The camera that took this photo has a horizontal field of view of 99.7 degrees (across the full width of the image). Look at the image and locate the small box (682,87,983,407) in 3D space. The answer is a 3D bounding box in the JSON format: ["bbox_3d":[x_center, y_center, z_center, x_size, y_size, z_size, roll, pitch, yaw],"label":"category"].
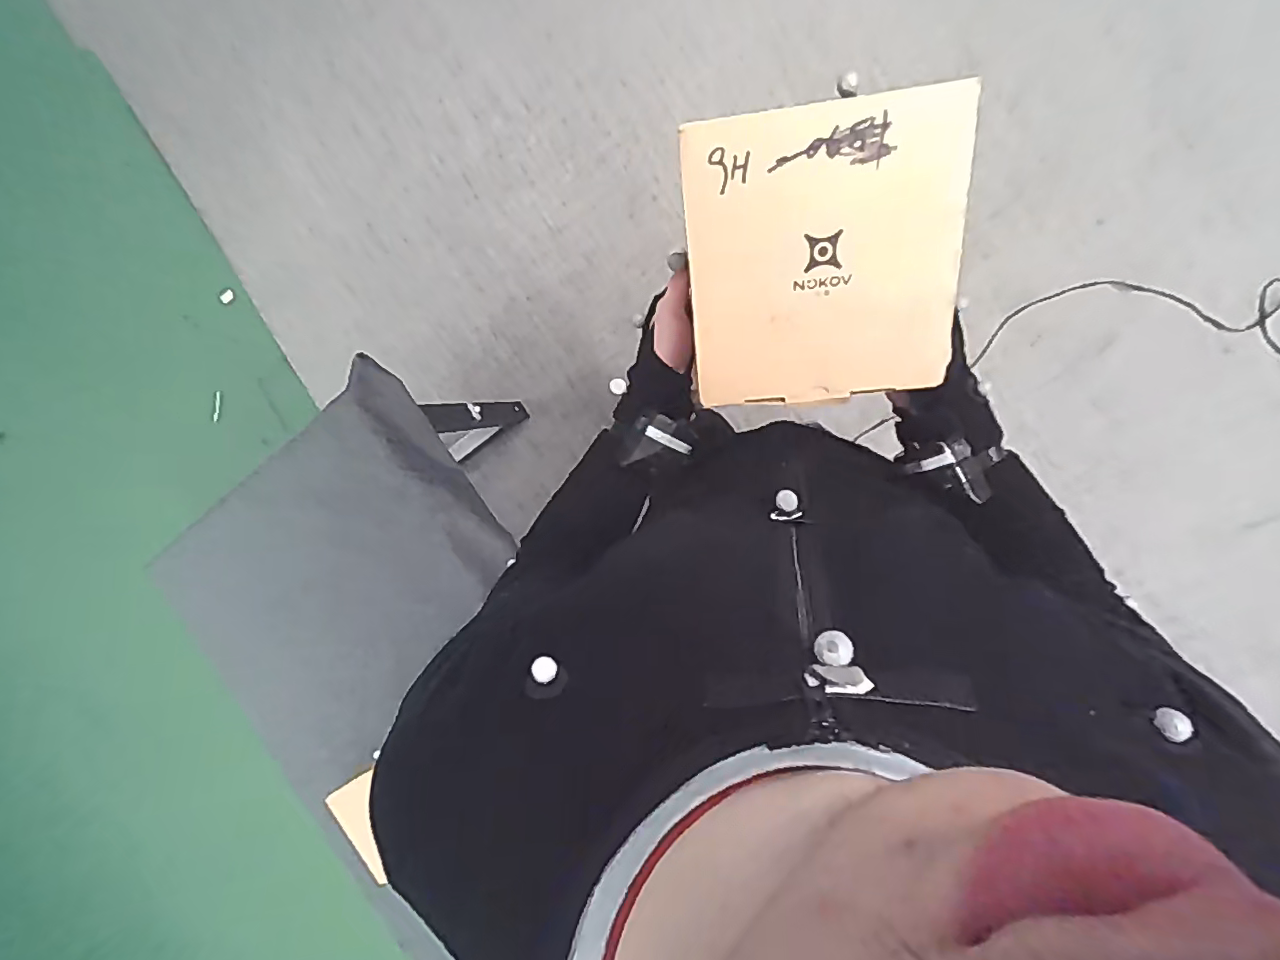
[{"bbox_3d":[0.121,-0.171,0.411,0.168,0.176,0.179,-4,118,7],"label":"small box"}]
